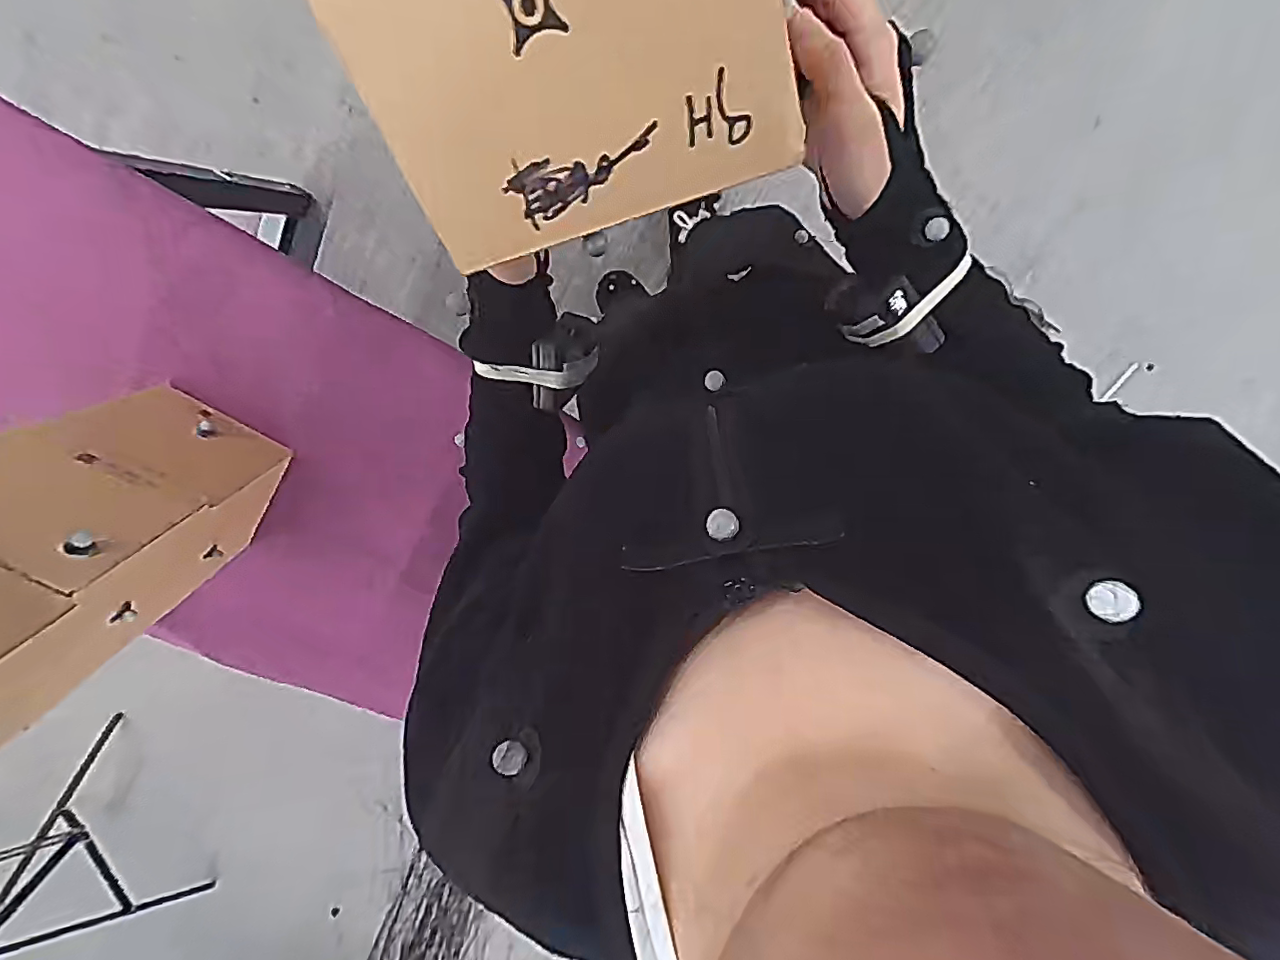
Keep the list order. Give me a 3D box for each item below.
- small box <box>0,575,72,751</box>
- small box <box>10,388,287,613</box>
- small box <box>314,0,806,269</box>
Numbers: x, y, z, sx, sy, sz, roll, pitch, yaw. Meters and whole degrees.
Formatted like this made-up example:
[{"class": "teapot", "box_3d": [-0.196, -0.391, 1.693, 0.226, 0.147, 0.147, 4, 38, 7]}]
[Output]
[{"class": "small box", "box_3d": [-0.548, 0.147, 0.355, 0.168, 0.176, 0.179, 34, 109, -16]}, {"class": "small box", "box_3d": [-0.572, 0.018, 0.653, 0.168, 0.176, 0.179, 32, 108, -17]}, {"class": "small box", "box_3d": [-0.023, -0.226, 0.241, 0.168, 0.176, 0.179, -6, 128, 23]}]
